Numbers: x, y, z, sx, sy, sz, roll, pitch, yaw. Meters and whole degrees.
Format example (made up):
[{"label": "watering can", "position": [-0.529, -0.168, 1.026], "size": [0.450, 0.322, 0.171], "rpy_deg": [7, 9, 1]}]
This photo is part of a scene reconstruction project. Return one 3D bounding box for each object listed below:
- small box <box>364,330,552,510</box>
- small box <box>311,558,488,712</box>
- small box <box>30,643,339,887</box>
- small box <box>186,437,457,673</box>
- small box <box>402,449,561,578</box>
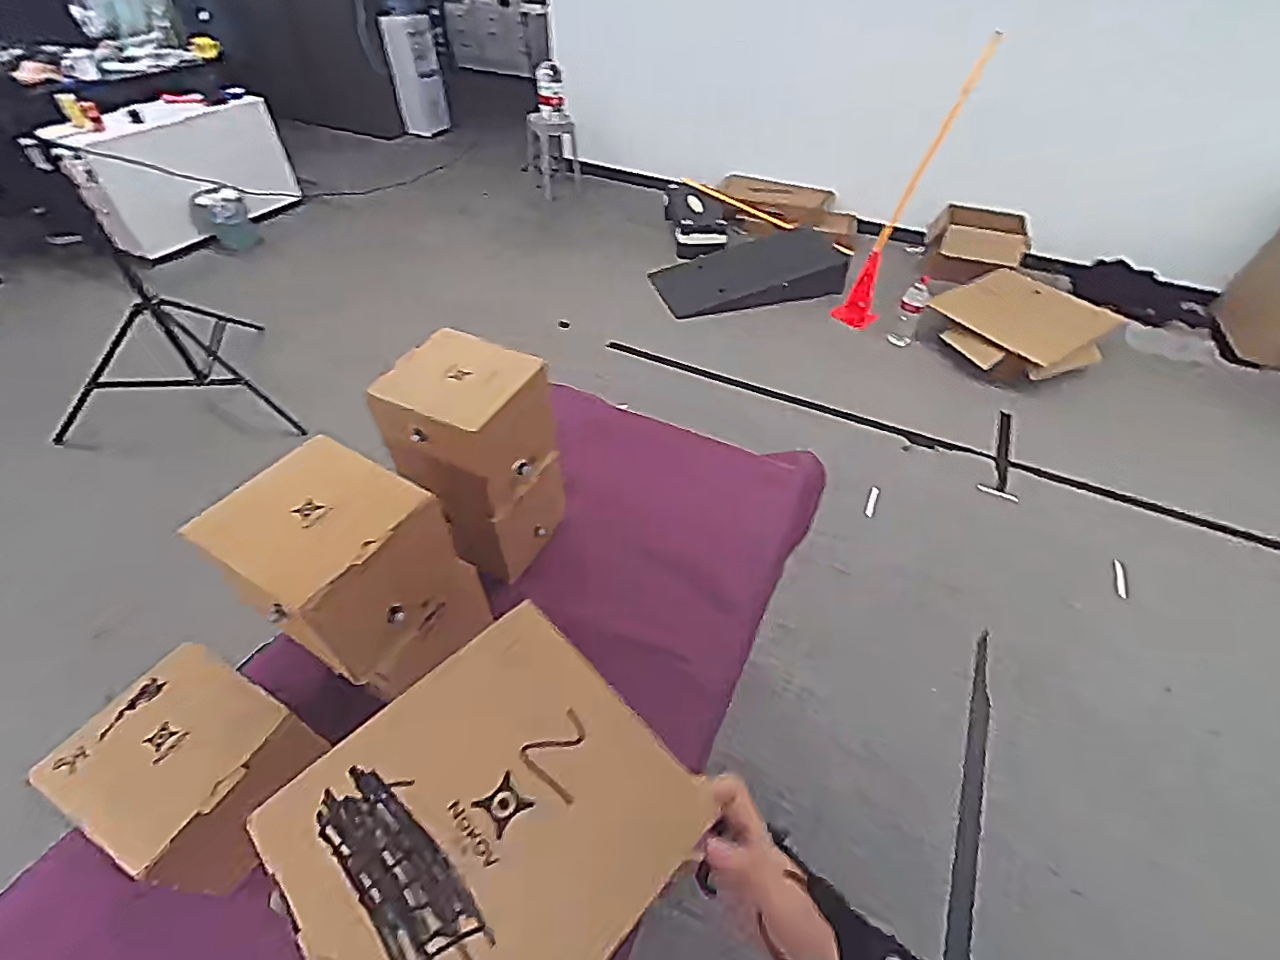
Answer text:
[{"label": "small box", "position": [-0.244, -0.082, 0.770], "size": [0.179, 0.176, 0.168], "rpy_deg": [20, 51, 14]}, {"label": "small box", "position": [-0.332, 0.189, 0.738], "size": [0.179, 0.176, 0.168], "rpy_deg": [21, 50, 17]}, {"label": "small box", "position": [-0.484, 0.322, 0.608], "size": [0.179, 0.176, 0.168], "rpy_deg": [24, 51, 16]}, {"label": "small box", "position": [-0.338, 0.087, 0.611], "size": [0.179, 0.176, 0.168], "rpy_deg": [24, 51, 17]}, {"label": "small box", "position": [-0.246, 0.032, 0.885], "size": [0.179, 0.176, 0.168], "rpy_deg": [22, 51, 16]}]
